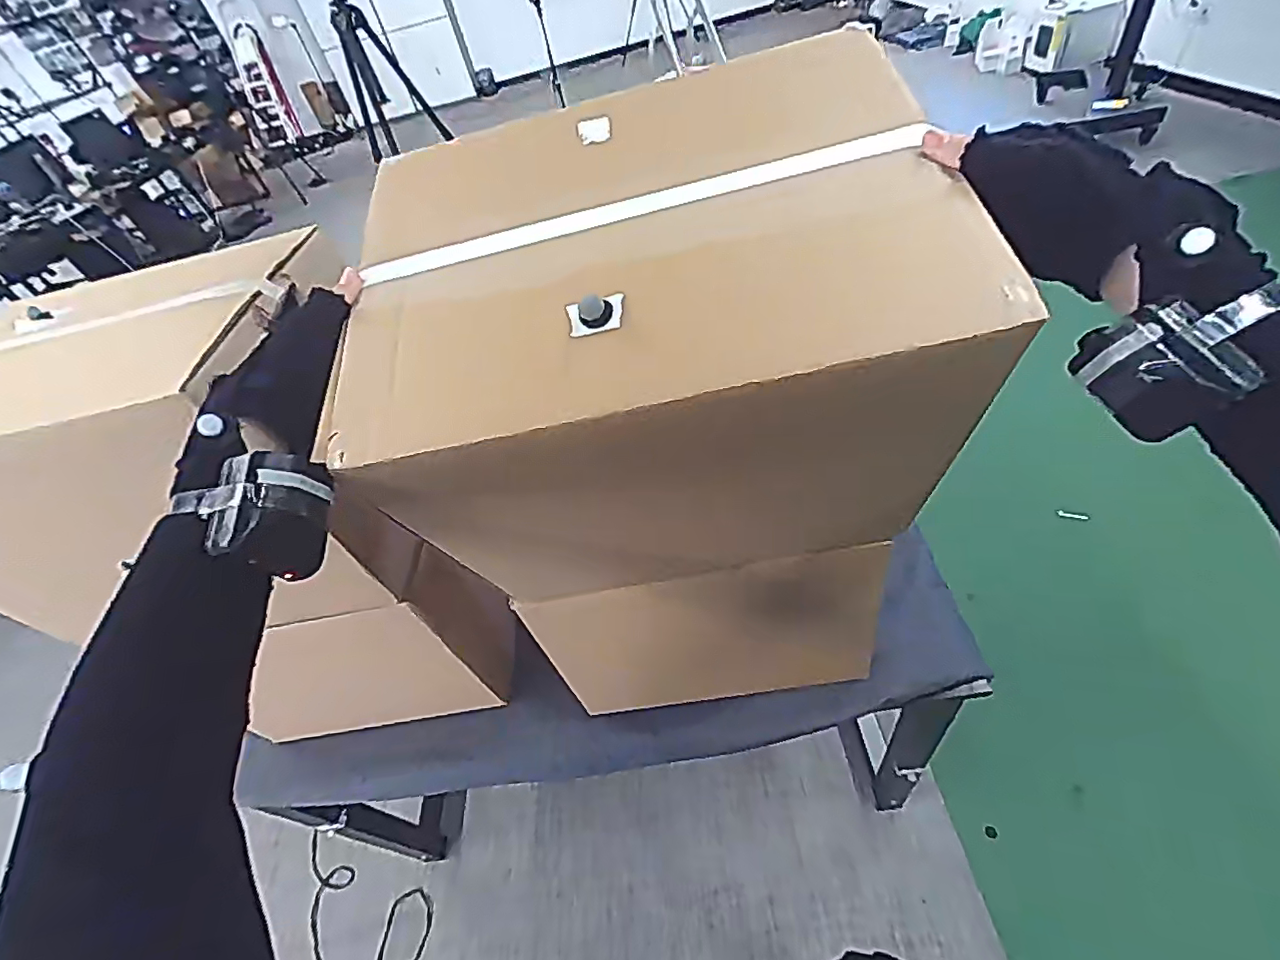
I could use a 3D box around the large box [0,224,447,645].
[{"bbox_3d":[-0.497,-0.040,0.632,0.408,0.320,0.320,-11,46,7],"label":"large box"}]
